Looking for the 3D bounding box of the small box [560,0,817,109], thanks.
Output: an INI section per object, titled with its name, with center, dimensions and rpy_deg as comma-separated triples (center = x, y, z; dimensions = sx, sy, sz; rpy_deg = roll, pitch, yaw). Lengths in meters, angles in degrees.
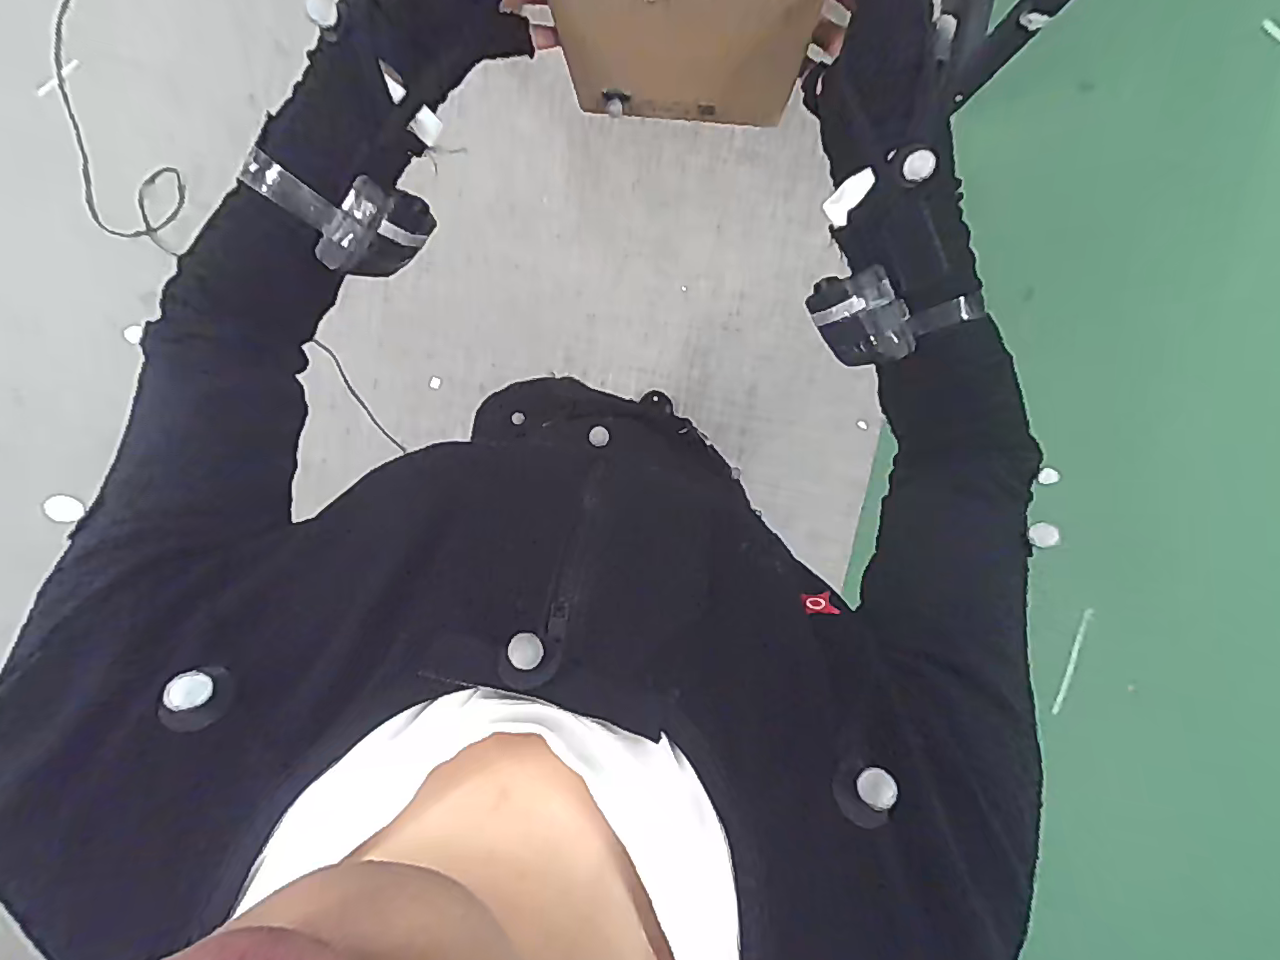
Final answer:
[small box]
center = 0.039, -0.378, 0.352
dimensions = 0.168, 0.176, 0.179
rpy_deg = 6, 97, 2
